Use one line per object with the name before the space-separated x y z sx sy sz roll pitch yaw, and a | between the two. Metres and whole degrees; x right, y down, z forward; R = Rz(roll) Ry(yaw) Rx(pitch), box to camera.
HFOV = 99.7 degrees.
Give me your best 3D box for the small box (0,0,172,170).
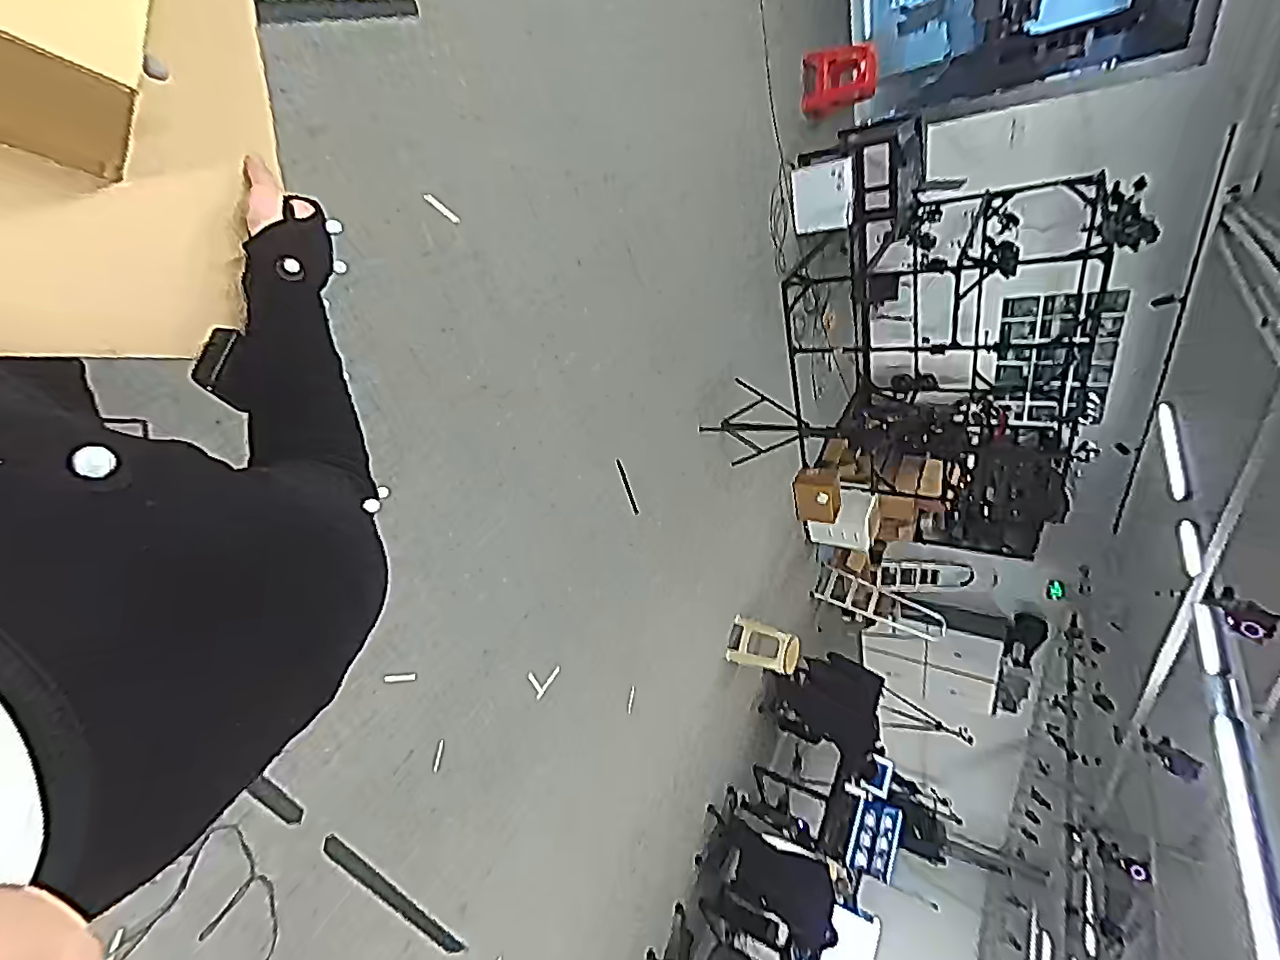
small box | -0.438 -0.342 0.362 0.179 0.176 0.168 7 87 -46
